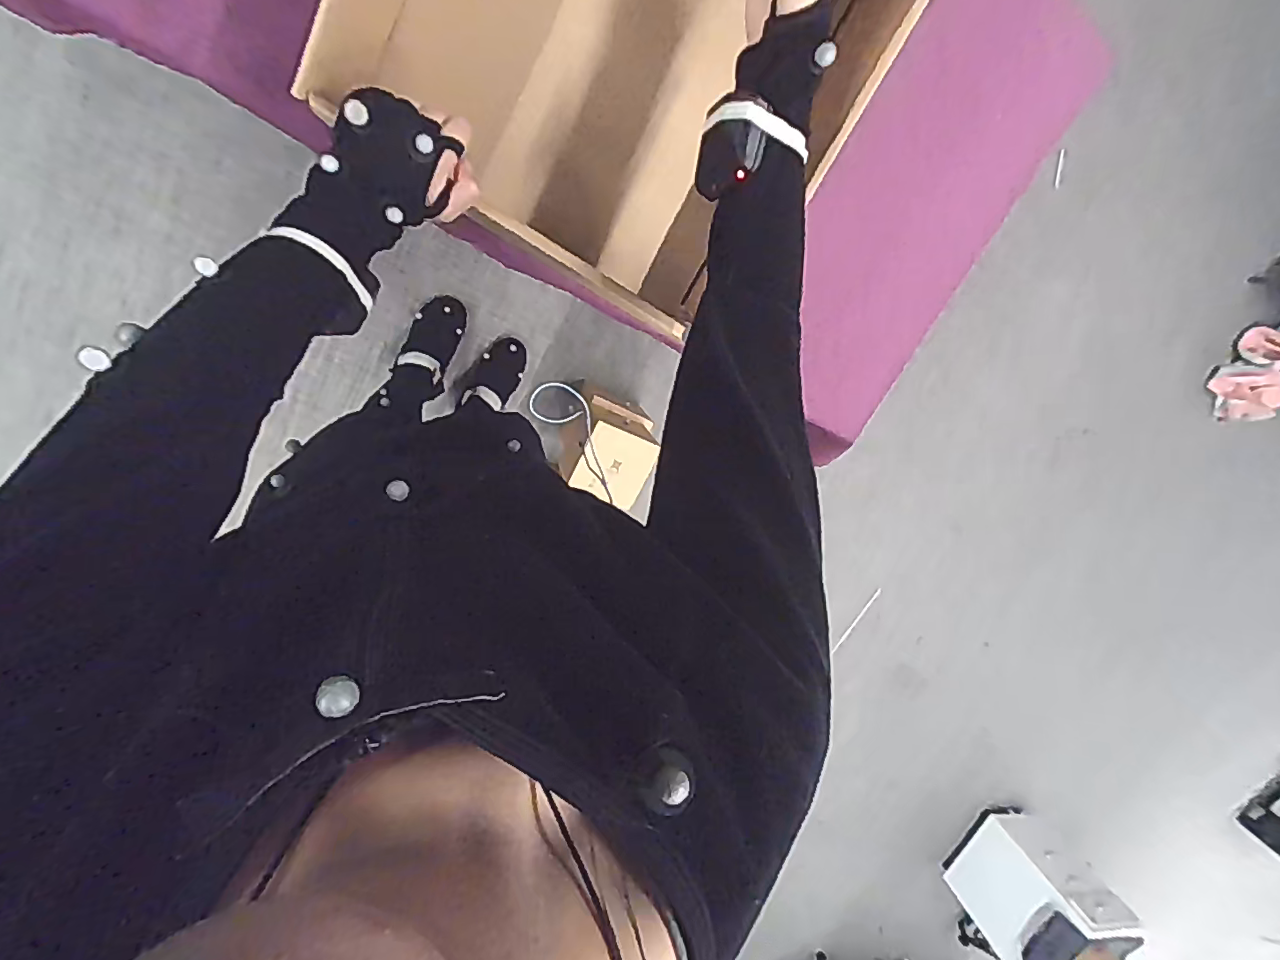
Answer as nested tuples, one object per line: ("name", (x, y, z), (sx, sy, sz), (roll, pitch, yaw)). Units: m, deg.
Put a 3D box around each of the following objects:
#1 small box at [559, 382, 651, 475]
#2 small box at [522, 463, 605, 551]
("small box", (-0.098, -0.143, 1.435), (0.179, 0.176, 0.168), (23, 106, -22))
("small box", (-0.219, 0.069, 1.499), (0.179, 0.176, 0.168), (18, 107, -22))
